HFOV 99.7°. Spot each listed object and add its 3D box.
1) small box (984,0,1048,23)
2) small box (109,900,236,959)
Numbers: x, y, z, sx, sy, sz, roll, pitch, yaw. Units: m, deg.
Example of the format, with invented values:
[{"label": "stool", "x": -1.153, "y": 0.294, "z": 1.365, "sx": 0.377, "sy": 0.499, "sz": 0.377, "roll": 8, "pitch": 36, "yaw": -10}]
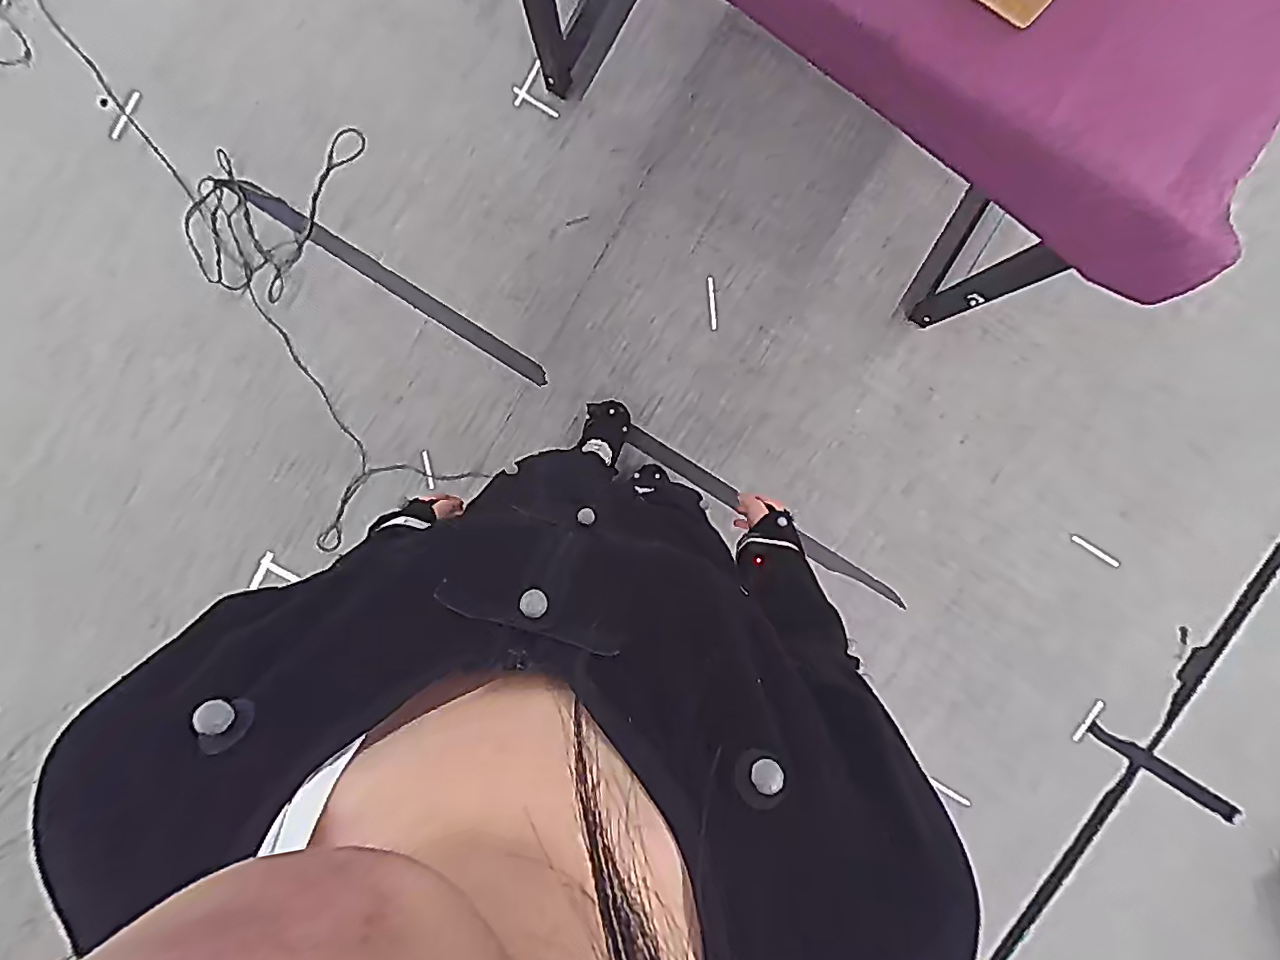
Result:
[{"label": "small box", "x": 0.483, "y": -0.704, "z": 0.630, "sx": 0.168, "sy": 0.176, "sz": 0.179, "roll": 32, "pitch": 93, "yaw": -2}, {"label": "small box", "x": -0.927, "y": 0.967, "z": 1.033, "sx": 0.168, "sy": 0.176, "sz": 0.179, "roll": 27, "pitch": 95, "yaw": -1}]
